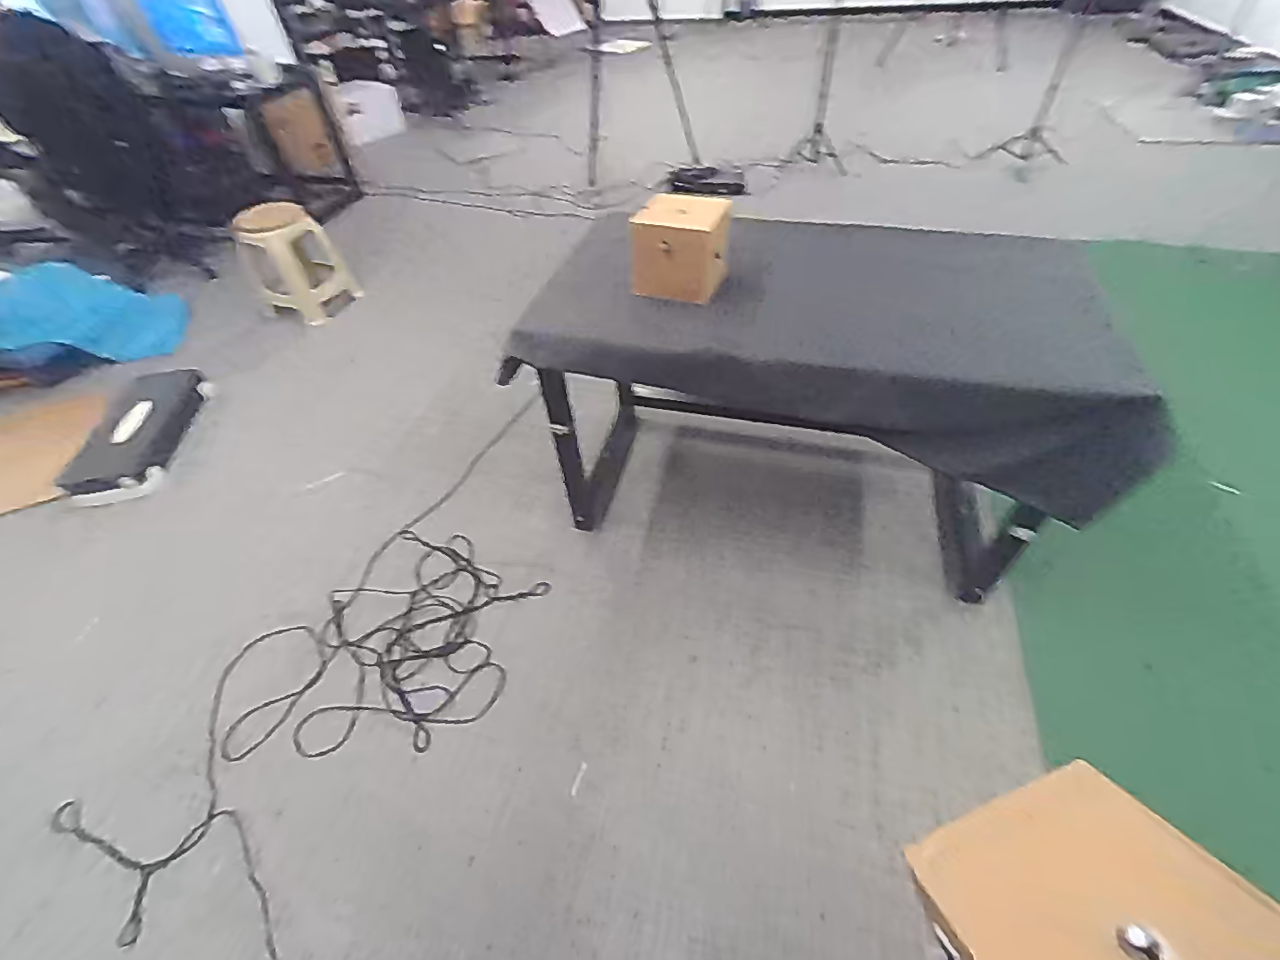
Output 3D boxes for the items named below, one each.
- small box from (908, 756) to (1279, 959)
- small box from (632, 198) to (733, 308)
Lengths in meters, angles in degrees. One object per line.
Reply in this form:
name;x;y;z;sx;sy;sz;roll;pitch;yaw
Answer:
small box;0.340;0.345;0.394;0.179;0.168;0.176;-26;9;-1
small box;0.097;-0.508;1.217;0.179;0.176;0.168;15;50;17
